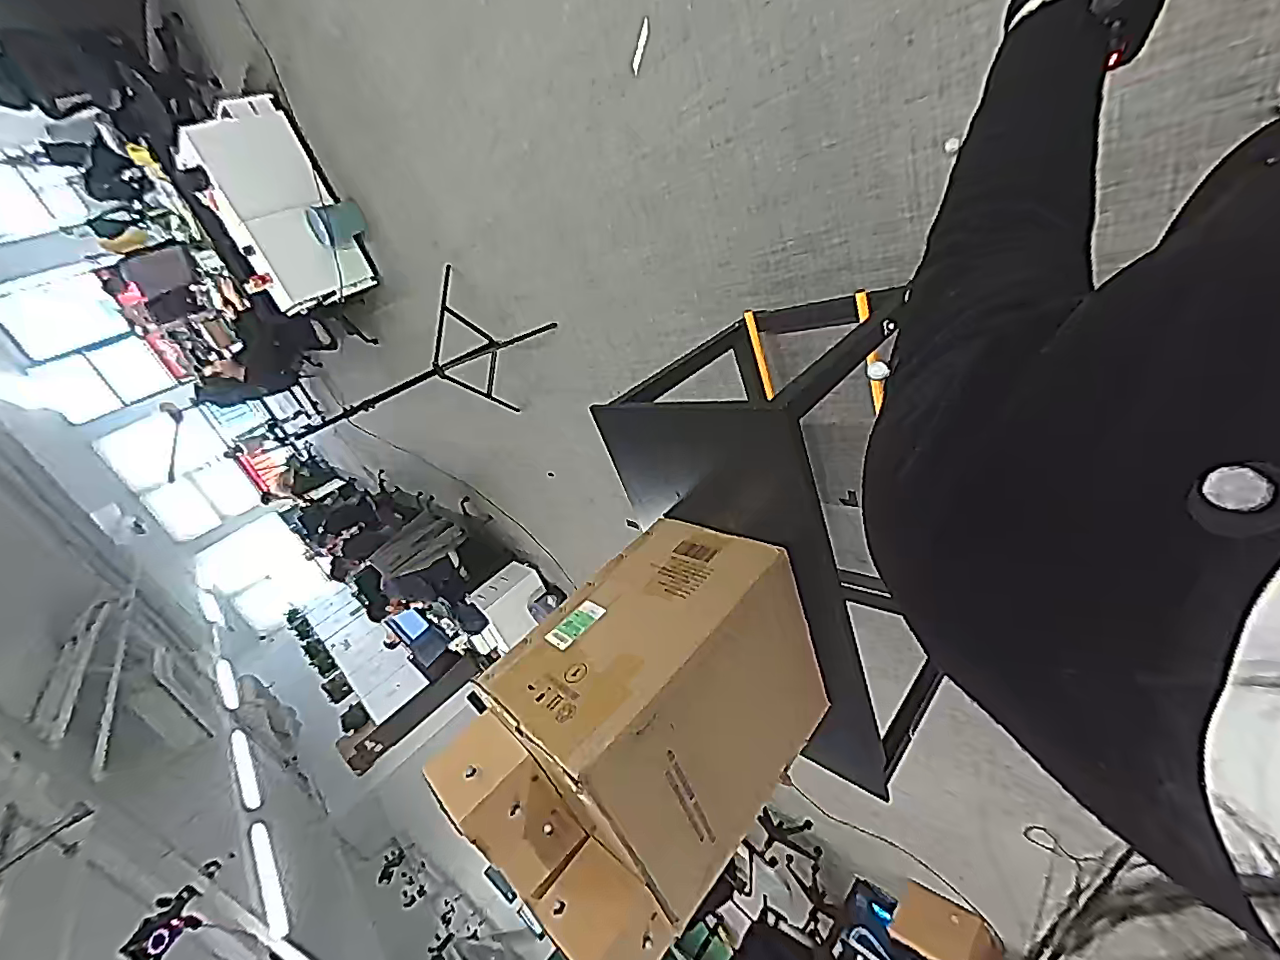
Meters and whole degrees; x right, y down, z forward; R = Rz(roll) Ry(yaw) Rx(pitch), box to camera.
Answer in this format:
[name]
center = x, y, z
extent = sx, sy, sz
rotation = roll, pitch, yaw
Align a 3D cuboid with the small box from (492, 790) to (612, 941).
[small box]
center = -0.188, 0.838, 1.190
extent = 0.168, 0.176, 0.179
rotation = 11, 129, 49
